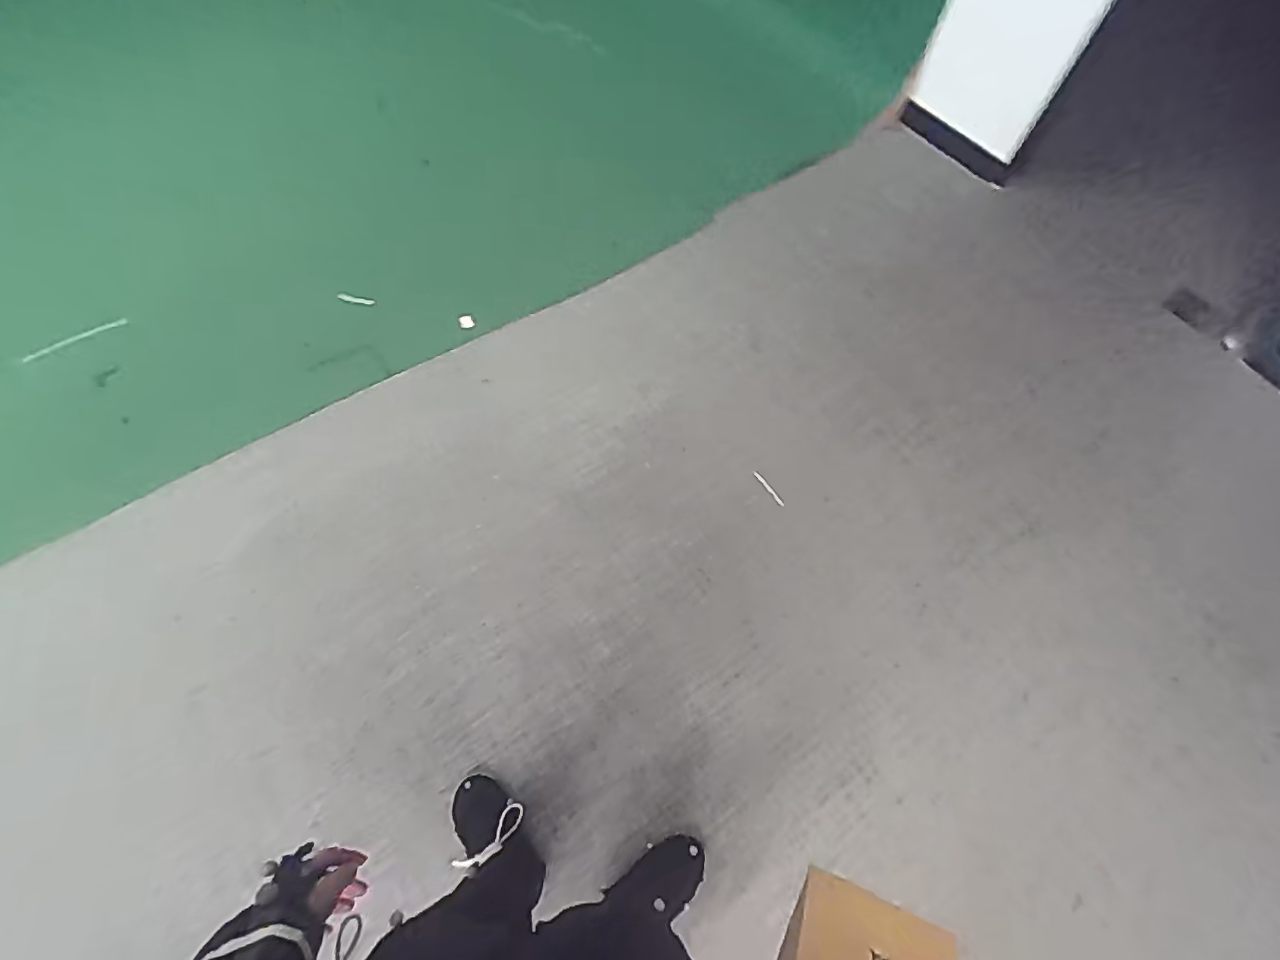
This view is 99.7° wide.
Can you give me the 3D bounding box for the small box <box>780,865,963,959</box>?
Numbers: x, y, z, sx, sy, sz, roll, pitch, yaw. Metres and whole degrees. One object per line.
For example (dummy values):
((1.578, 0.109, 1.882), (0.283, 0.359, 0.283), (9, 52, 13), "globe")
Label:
((0.231, 0.576, 0.568), (0.168, 0.179, 0.176), (17, 105, 21), "small box")
